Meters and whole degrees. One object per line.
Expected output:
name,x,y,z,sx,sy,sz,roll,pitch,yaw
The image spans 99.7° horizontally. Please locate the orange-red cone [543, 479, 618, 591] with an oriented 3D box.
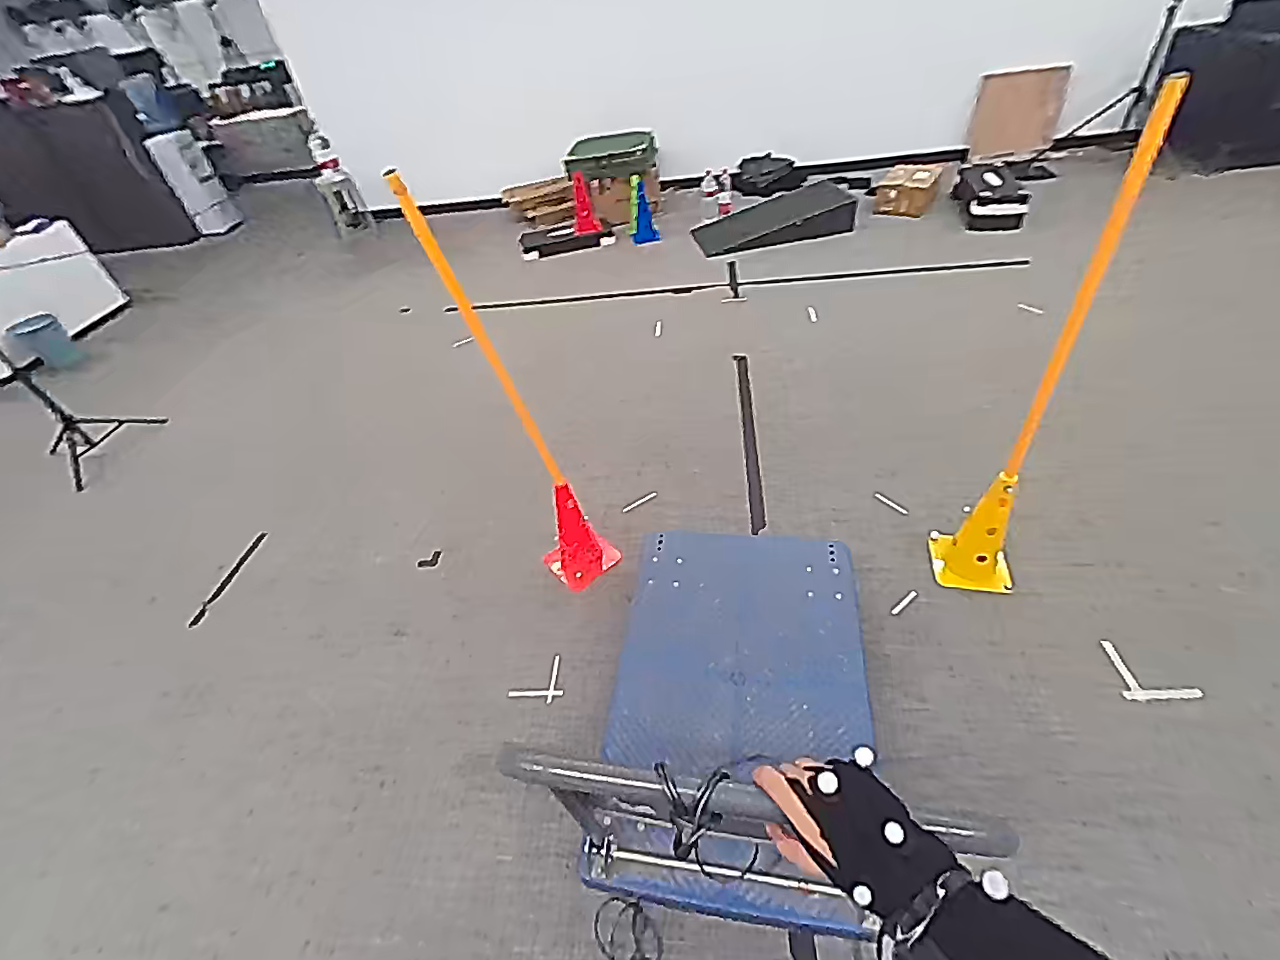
orange-red cone,-0.213,0.136,1.668,0.199,0.360,0.198,-33,49,-26
